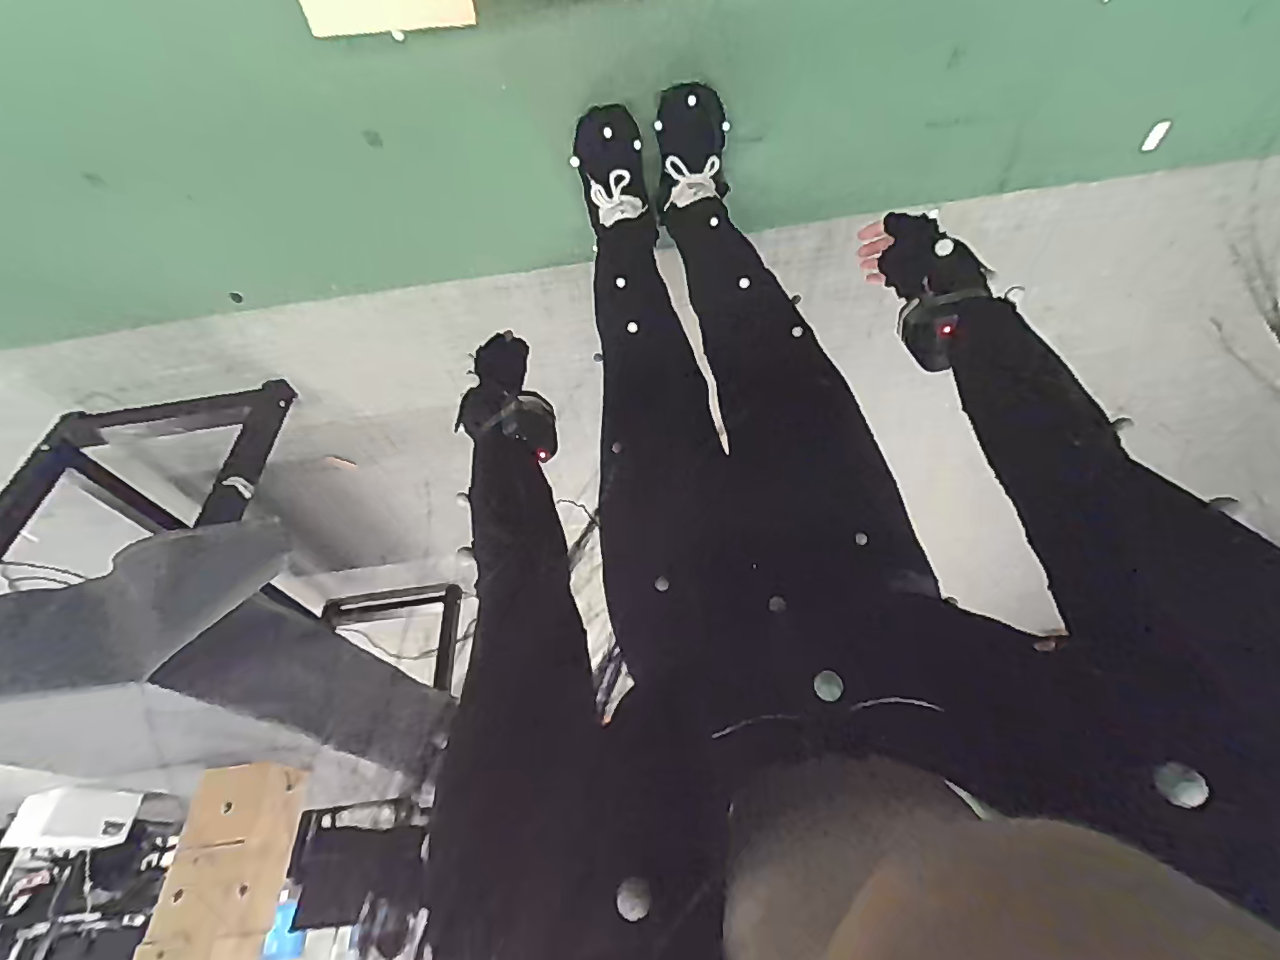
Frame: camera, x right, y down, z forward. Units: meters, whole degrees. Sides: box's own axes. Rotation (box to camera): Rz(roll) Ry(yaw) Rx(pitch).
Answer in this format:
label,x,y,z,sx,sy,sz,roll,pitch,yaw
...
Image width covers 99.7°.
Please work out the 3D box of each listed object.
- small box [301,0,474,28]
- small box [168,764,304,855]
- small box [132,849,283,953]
label,x,y,z,sx,sy,sz,roll,pitch,yaw
small box,-0.267,-0.594,0.558,0.179,0.176,0.168,-5,142,-1
small box,-0.960,0.802,1.304,0.179,0.176,0.168,-8,142,1
small box,-0.949,0.931,1.206,0.168,0.176,0.179,-8,142,4
